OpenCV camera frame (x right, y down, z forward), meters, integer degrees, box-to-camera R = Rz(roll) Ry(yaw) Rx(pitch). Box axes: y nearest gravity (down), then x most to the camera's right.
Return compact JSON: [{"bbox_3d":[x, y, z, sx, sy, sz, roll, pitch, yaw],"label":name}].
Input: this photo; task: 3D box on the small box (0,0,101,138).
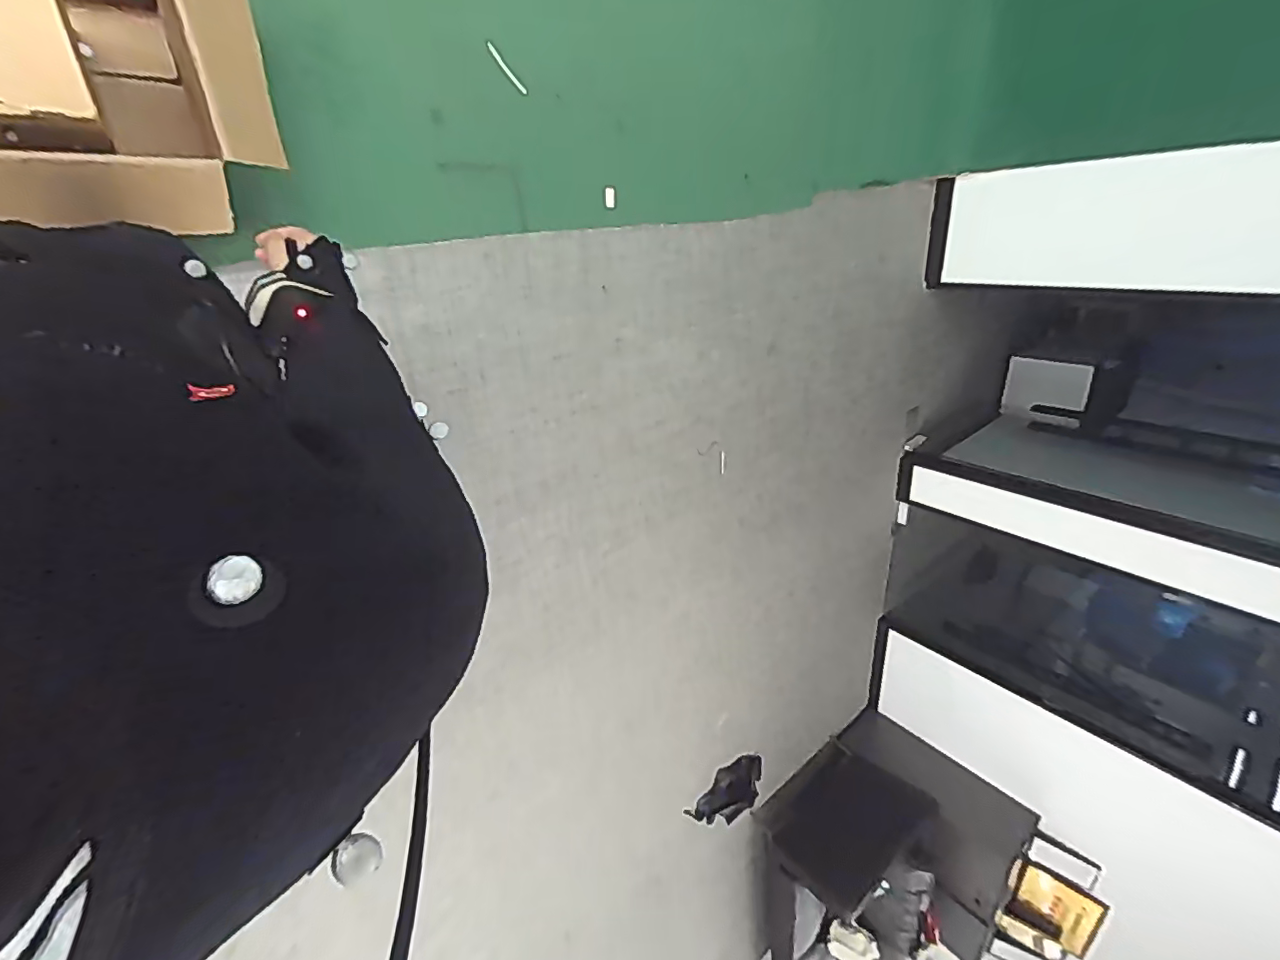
[{"bbox_3d":[-0.778,-0.523,0.632,0.168,0.176,0.179,-20,119,-35],"label":"small box"}]
